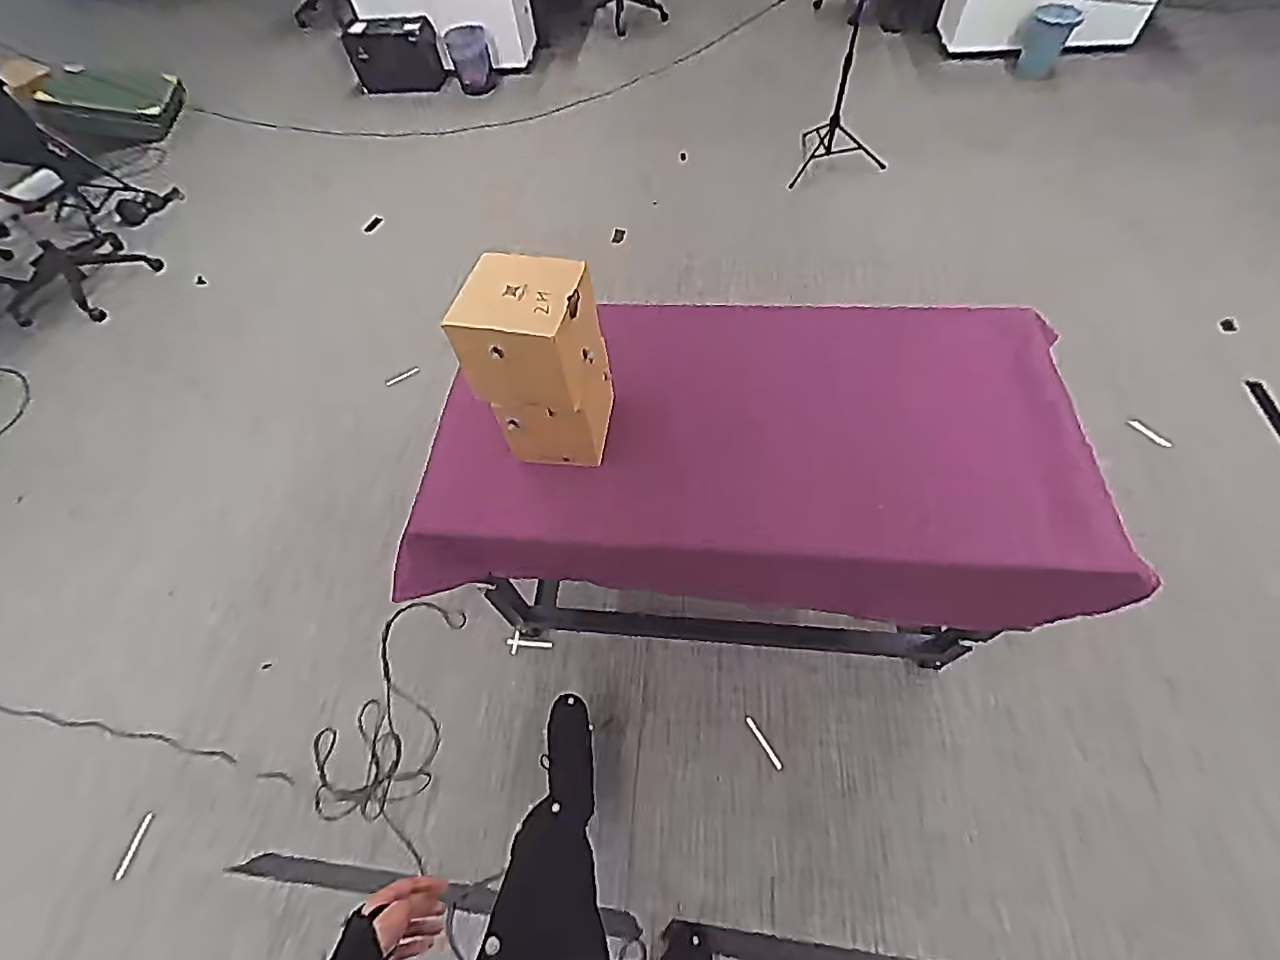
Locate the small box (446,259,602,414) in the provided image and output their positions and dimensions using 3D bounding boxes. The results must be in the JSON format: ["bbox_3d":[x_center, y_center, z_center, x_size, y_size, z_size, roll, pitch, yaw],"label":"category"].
[{"bbox_3d":[-0.171,-0.224,0.865,0.179,0.176,0.168,10,59,10],"label":"small box"}]
